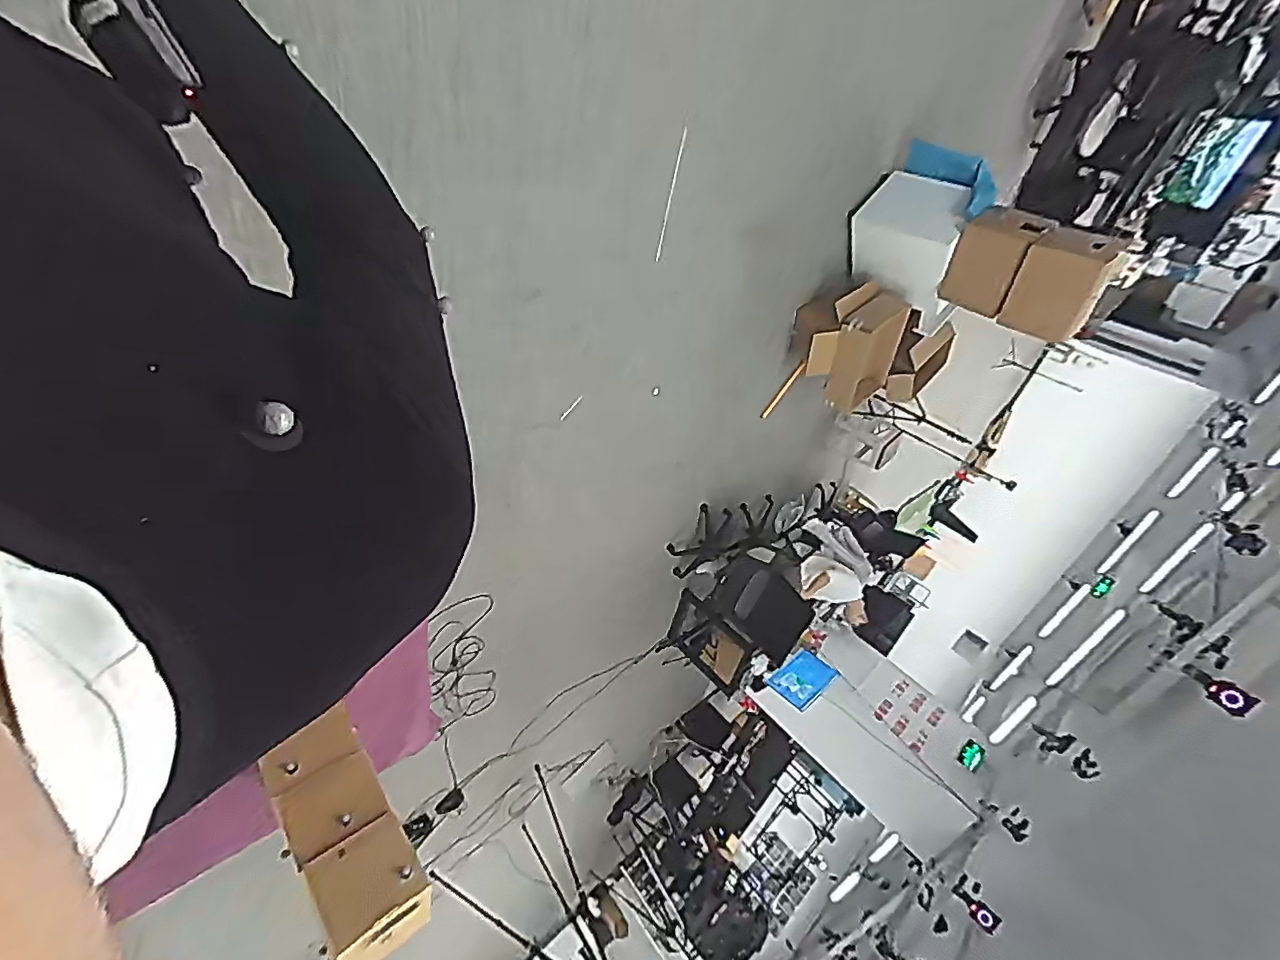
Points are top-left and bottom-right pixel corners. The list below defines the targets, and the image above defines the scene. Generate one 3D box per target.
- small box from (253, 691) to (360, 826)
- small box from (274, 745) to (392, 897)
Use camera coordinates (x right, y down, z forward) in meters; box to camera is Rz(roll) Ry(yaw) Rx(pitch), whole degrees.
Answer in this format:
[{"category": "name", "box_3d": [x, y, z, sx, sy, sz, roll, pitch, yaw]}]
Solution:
[{"category": "small box", "box_3d": [-0.750, 0.620, 1.222, 0.179, 0.176, 0.168, -17, 135, -41]}, {"category": "small box", "box_3d": [-0.644, 0.705, 1.134, 0.179, 0.176, 0.168, -18, 135, -41]}]
